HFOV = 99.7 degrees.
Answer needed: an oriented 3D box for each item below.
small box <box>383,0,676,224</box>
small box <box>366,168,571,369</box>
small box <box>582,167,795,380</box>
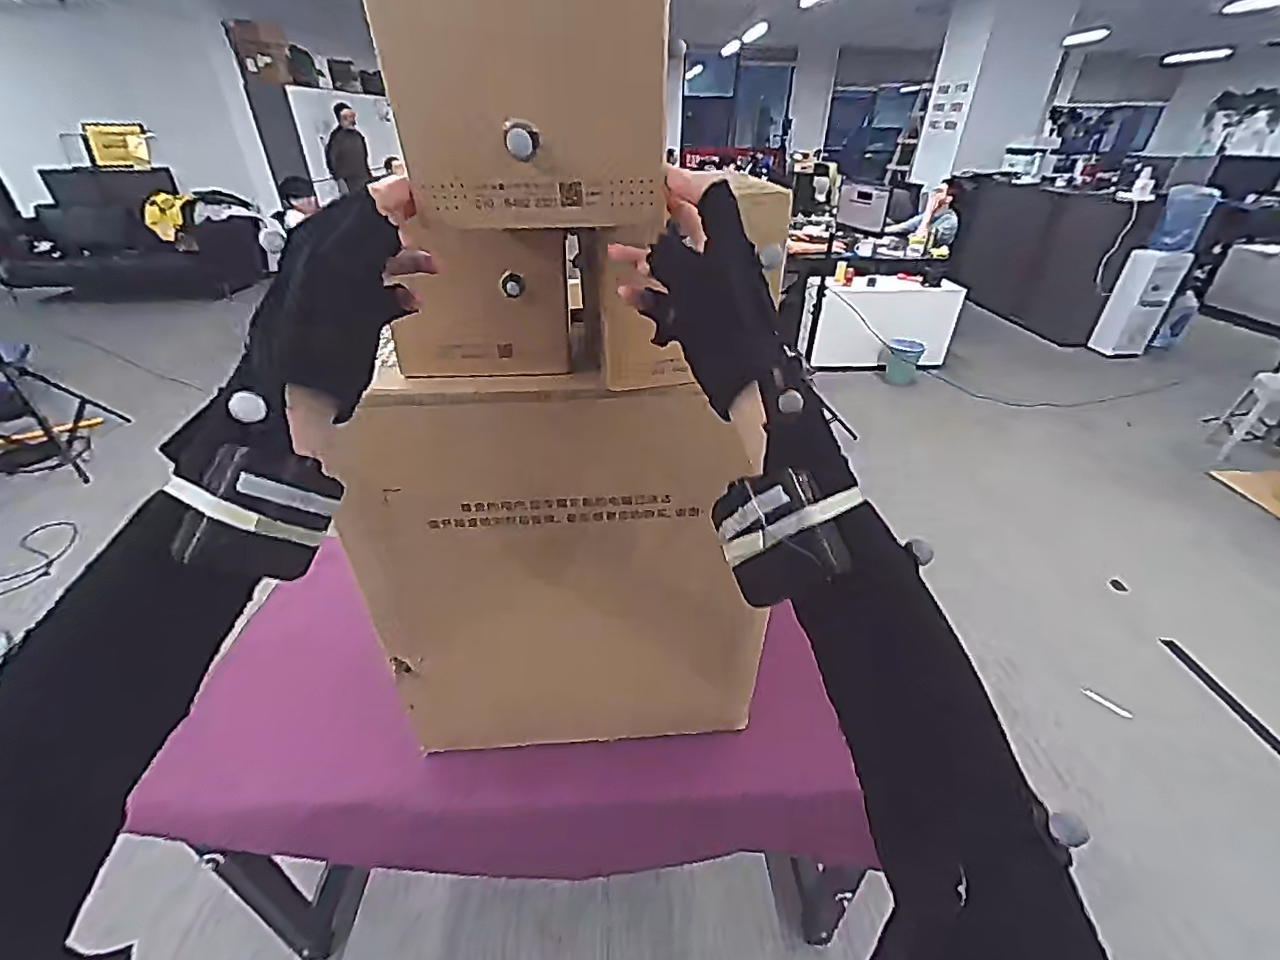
[{"bbox_3d":[-0.063,-0.287,0.373,0.168,0.176,0.179,-2,39,0],"label":"small box"},{"bbox_3d":[-0.158,-0.223,0.565,0.168,0.176,0.179,-1,32,-7],"label":"small box"},{"bbox_3d":[0.033,-0.215,0.550,0.168,0.176,0.179,-8,35,-11],"label":"small box"}]
